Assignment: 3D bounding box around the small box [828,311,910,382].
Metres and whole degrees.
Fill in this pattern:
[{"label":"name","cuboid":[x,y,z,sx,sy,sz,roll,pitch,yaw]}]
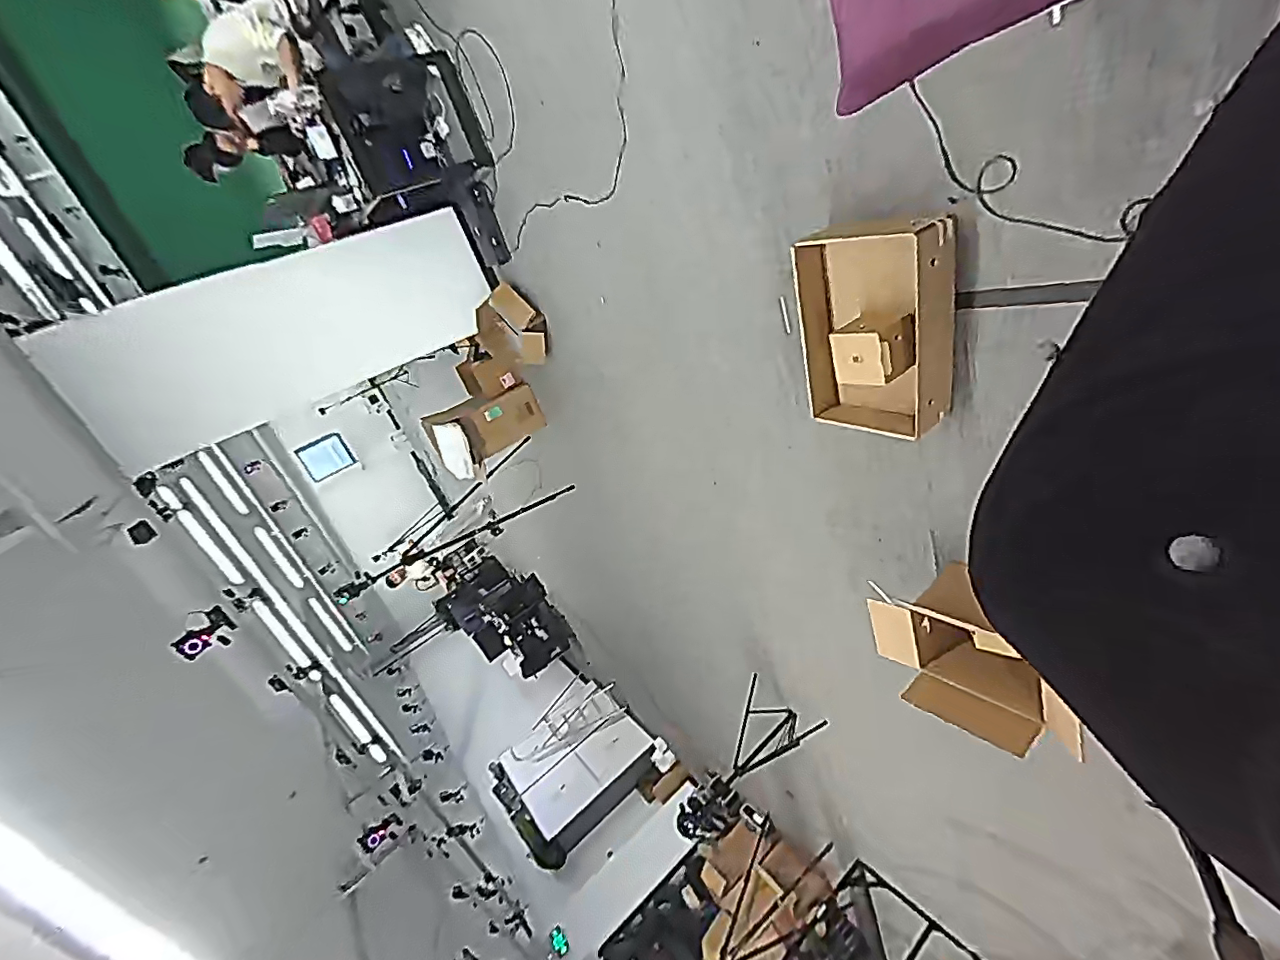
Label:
[{"label":"small box","cuboid":[0.717,-0.418,1.681,0.179,0.176,0.168,18,134,53]}]
